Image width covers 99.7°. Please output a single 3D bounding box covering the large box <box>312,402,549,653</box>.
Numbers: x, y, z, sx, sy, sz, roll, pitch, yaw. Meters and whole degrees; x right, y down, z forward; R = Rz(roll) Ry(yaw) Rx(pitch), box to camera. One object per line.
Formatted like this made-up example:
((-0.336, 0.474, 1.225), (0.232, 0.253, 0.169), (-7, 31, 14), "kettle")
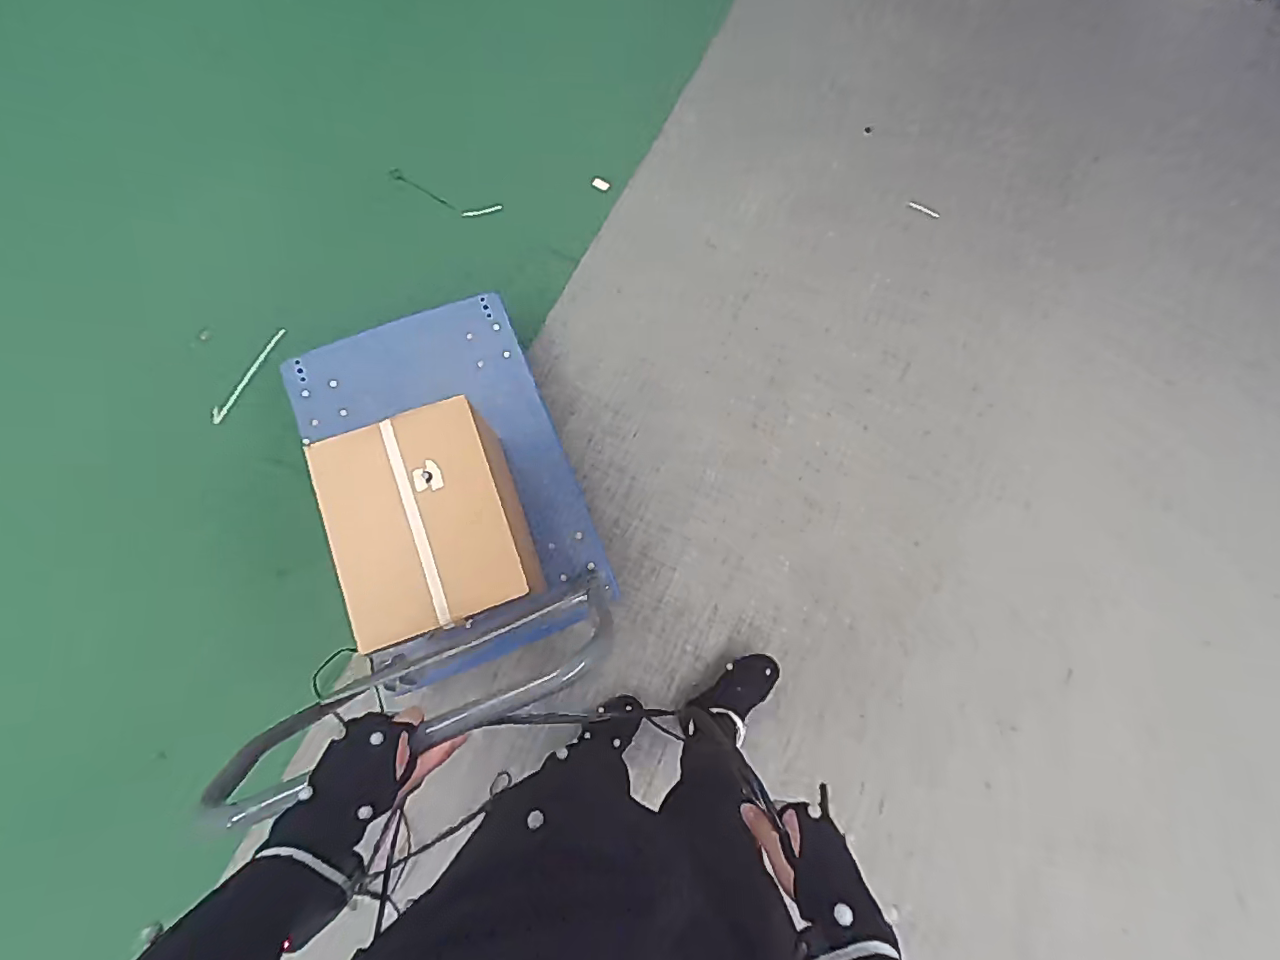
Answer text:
((-0.417, 0.109, 1.154), (0.320, 0.320, 0.408), (-20, 80, -7), "large box")
